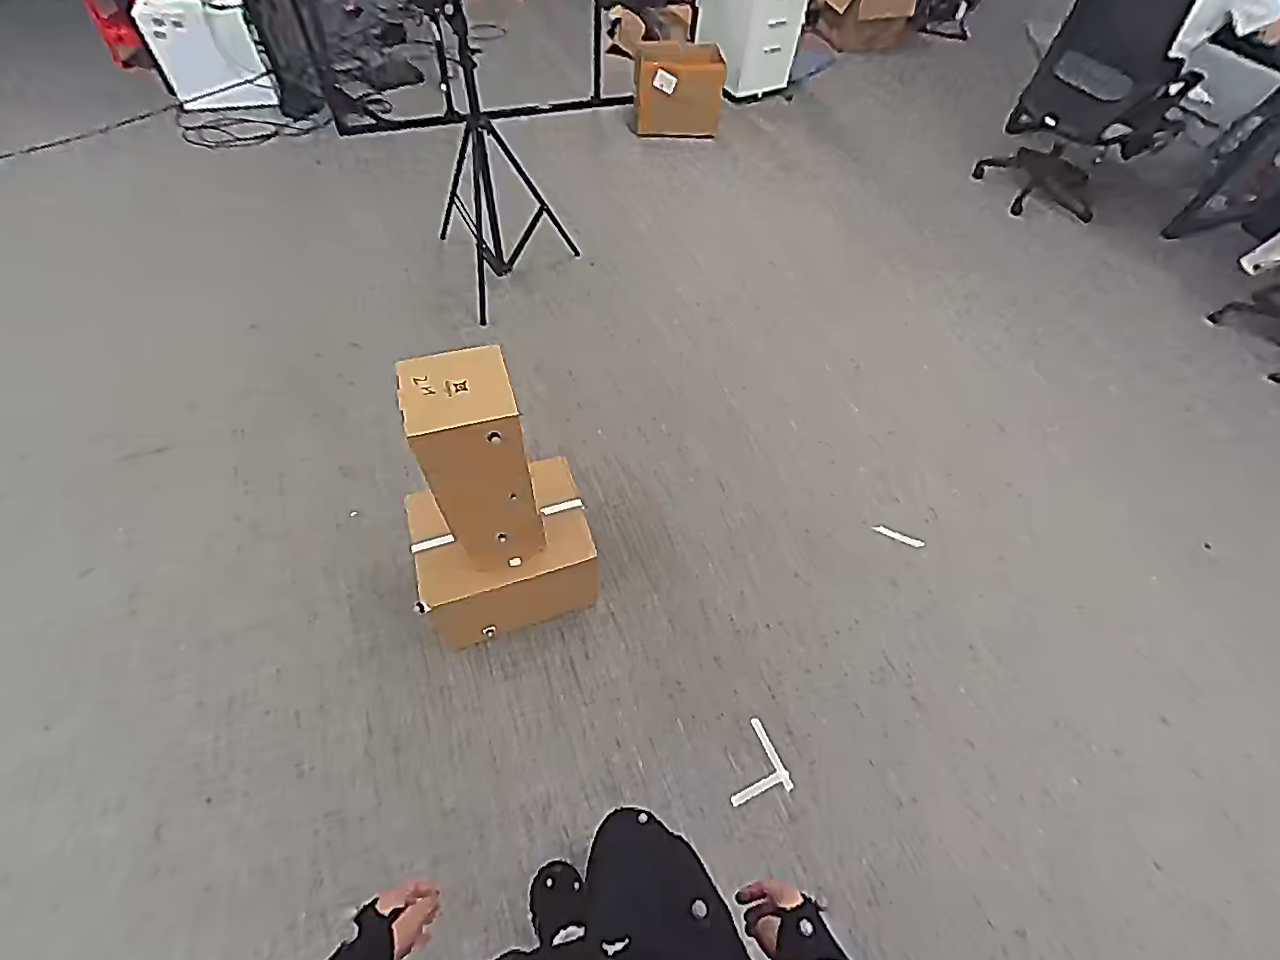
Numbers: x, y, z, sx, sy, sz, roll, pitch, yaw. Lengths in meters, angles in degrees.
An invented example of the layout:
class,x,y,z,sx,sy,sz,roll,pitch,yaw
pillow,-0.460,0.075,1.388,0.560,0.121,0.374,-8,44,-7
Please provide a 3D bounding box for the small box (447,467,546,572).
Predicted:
class,x,y,z,sx,sy,sz,roll,pitch,yaw
small box,-0.322,0.085,1.222,0.179,0.176,0.168,-17,61,-16

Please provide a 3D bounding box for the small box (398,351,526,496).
class,x,y,z,sx,sy,sz,roll,pitch,yaw
small box,-0.303,-0.095,0.947,0.179,0.176,0.168,-14,59,-13
